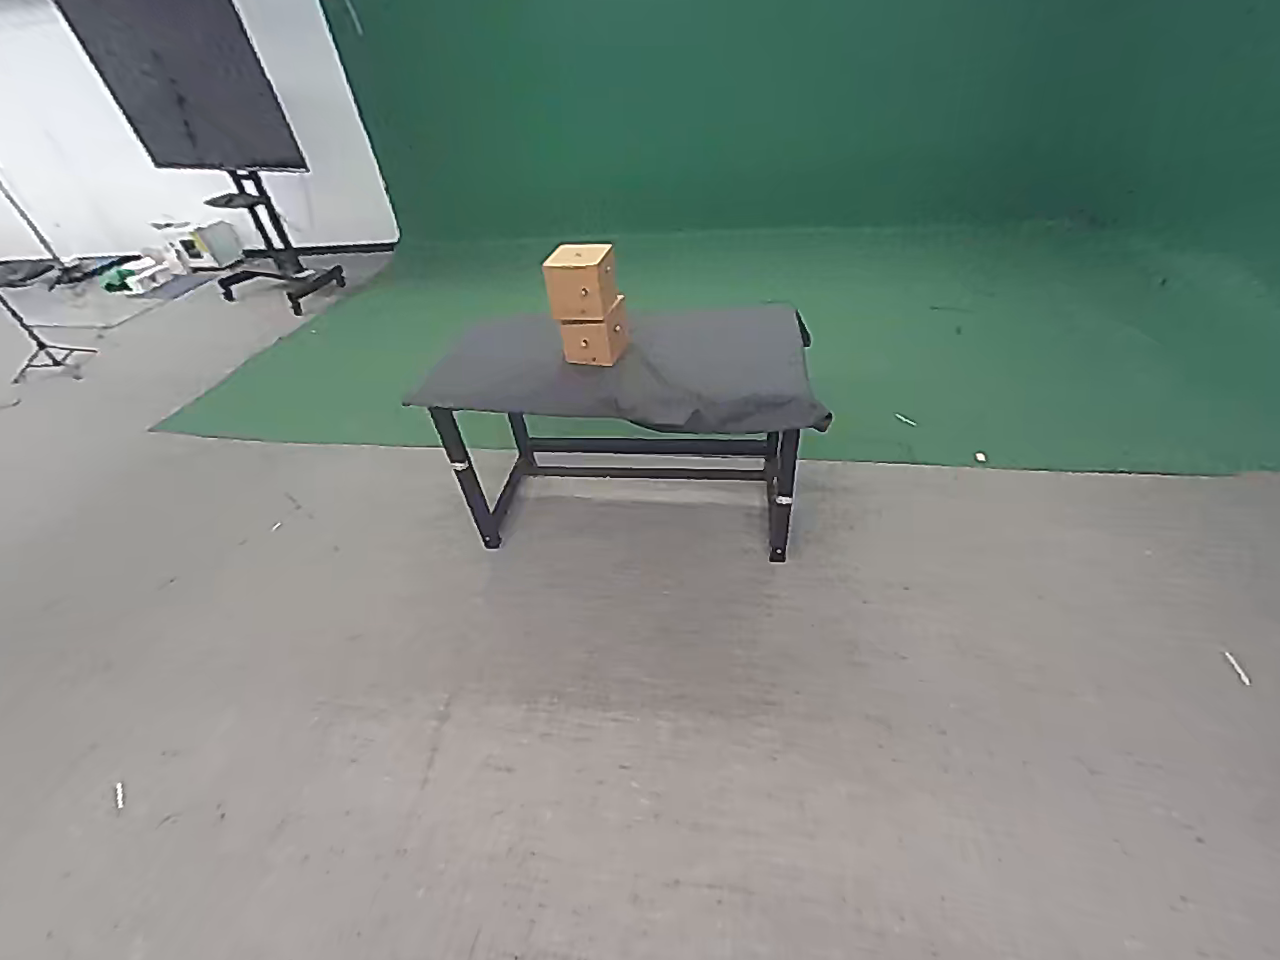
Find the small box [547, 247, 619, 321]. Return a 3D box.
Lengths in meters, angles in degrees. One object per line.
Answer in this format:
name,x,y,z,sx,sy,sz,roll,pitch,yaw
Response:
small box,-0.167,-0.599,1.655,0.168,0.176,0.179,6,42,12

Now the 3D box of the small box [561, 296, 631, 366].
small box,-0.137,-0.490,1.775,0.168,0.176,0.179,9,44,17
